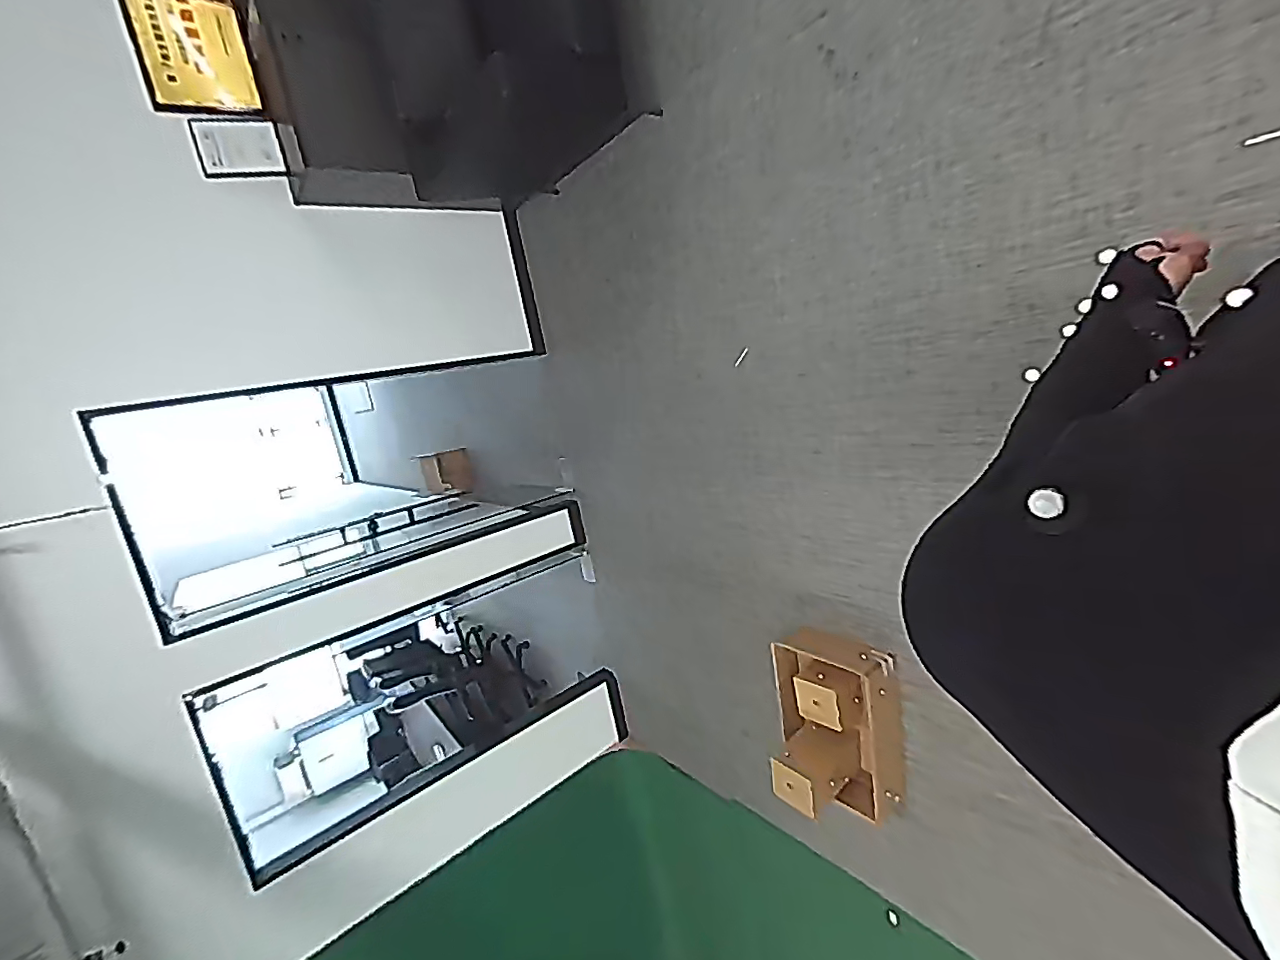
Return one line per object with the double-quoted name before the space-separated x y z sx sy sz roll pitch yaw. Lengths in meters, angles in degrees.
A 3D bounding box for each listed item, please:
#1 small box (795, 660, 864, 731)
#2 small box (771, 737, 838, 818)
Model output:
"small box" 0.708 0.795 2.021 0.179 0.176 0.168 0 105 51
"small box" 0.607 1.083 1.992 0.179 0.176 0.168 8 110 51
